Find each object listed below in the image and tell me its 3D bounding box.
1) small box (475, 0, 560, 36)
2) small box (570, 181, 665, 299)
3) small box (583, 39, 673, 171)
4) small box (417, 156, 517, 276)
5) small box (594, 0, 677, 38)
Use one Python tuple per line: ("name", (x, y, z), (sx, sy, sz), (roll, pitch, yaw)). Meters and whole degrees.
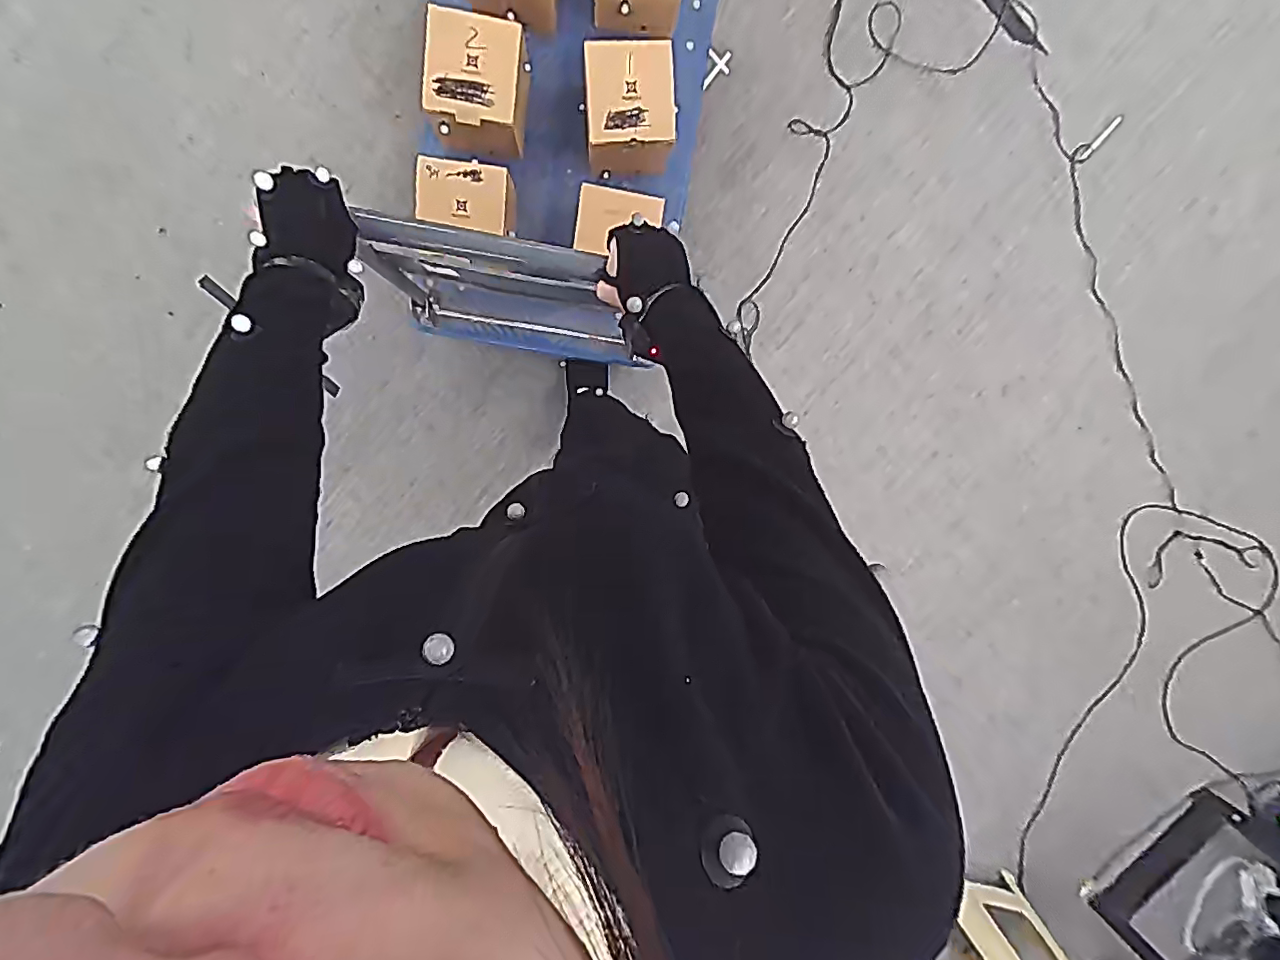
("small box", (-0.235, -1.007, 1.026), (0.168, 0.176, 0.179), (9, 100, -7))
("small box", (-0.051, -0.492, 1.138), (0.168, 0.176, 0.179), (8, 98, -8))
("small box", (-0.026, -0.746, 1.095), (0.168, 0.176, 0.179), (-4, 99, -5))
("small box", (-0.345, -0.525, 1.102), (0.168, 0.176, 0.179), (4, 100, -7))
("small box", (-0.002, -1.014, 1.052), (0.168, 0.176, 0.179), (5, 100, -7))
